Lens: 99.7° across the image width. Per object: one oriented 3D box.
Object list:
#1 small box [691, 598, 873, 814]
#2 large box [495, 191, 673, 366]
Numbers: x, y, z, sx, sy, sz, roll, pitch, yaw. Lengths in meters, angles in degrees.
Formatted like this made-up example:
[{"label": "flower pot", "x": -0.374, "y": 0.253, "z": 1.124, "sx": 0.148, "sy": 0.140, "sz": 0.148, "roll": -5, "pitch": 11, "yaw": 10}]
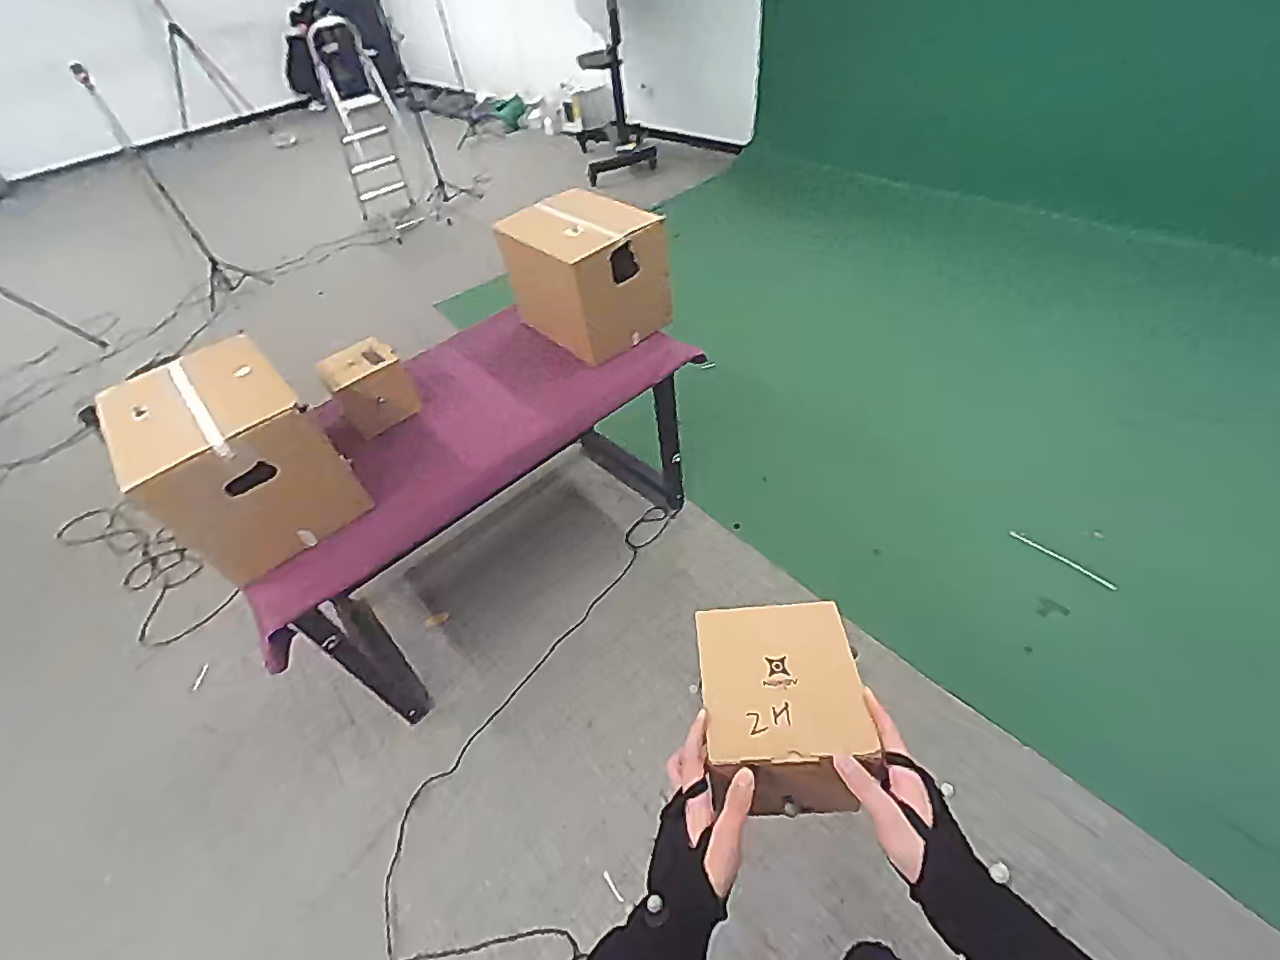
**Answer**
[{"label": "small box", "x": 0.149, "y": 0.262, "z": 0.629, "sx": 0.168, "sy": 0.176, "sz": 0.179, "roll": -6, "pitch": 42, "yaw": 5}, {"label": "large box", "x": -0.153, "y": -0.595, "z": 1.579, "sx": 0.320, "sy": 0.320, "sz": 0.408, "roll": -37, "pitch": 53, "yaw": -22}]
